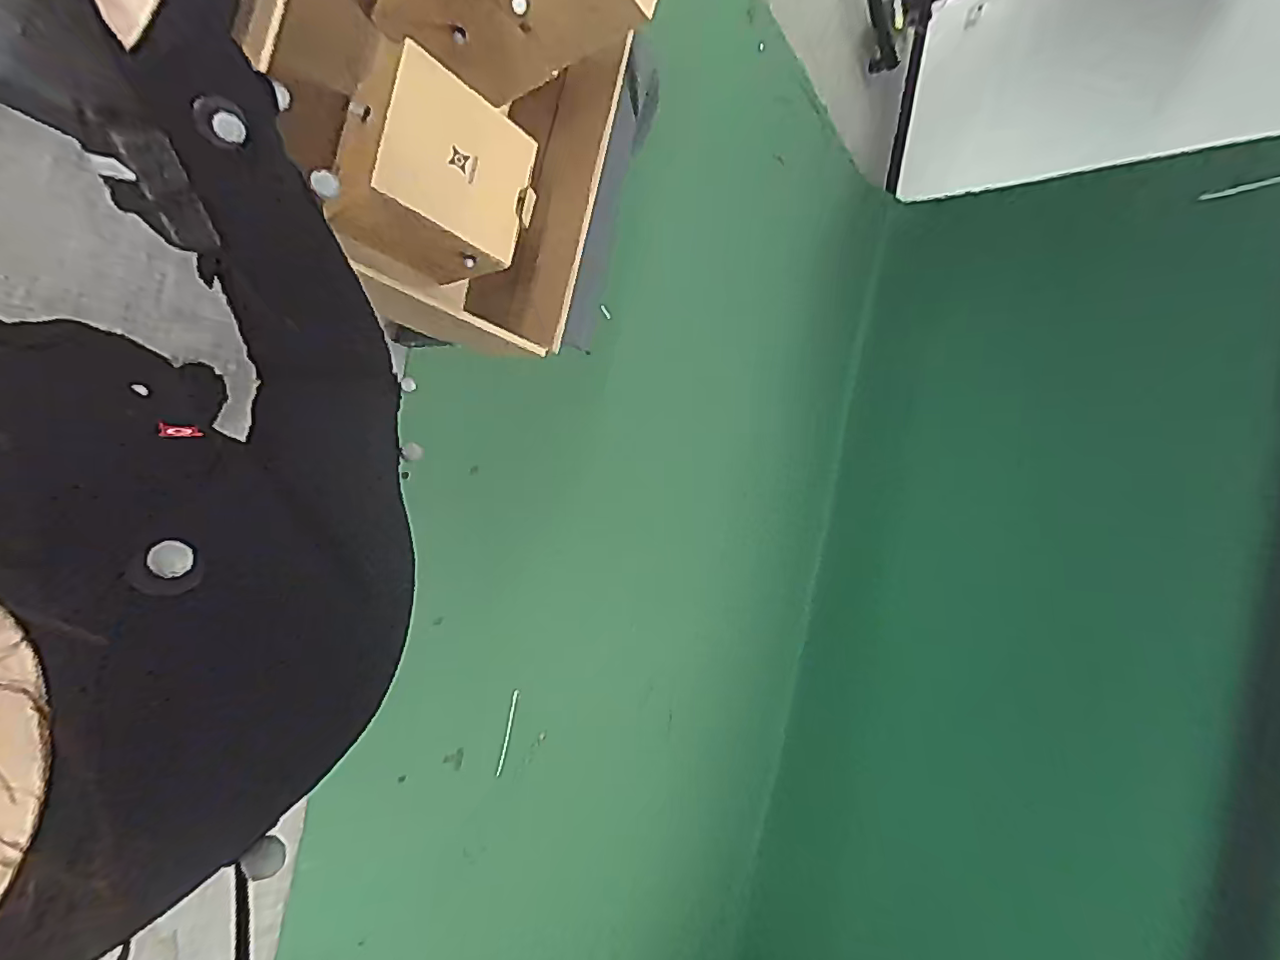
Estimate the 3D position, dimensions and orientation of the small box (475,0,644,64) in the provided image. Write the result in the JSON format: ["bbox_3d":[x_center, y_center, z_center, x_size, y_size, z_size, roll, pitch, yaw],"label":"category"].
[{"bbox_3d":[-0.091,-0.605,0.576,0.168,0.176,0.179,17,88,-50],"label":"small box"}]
